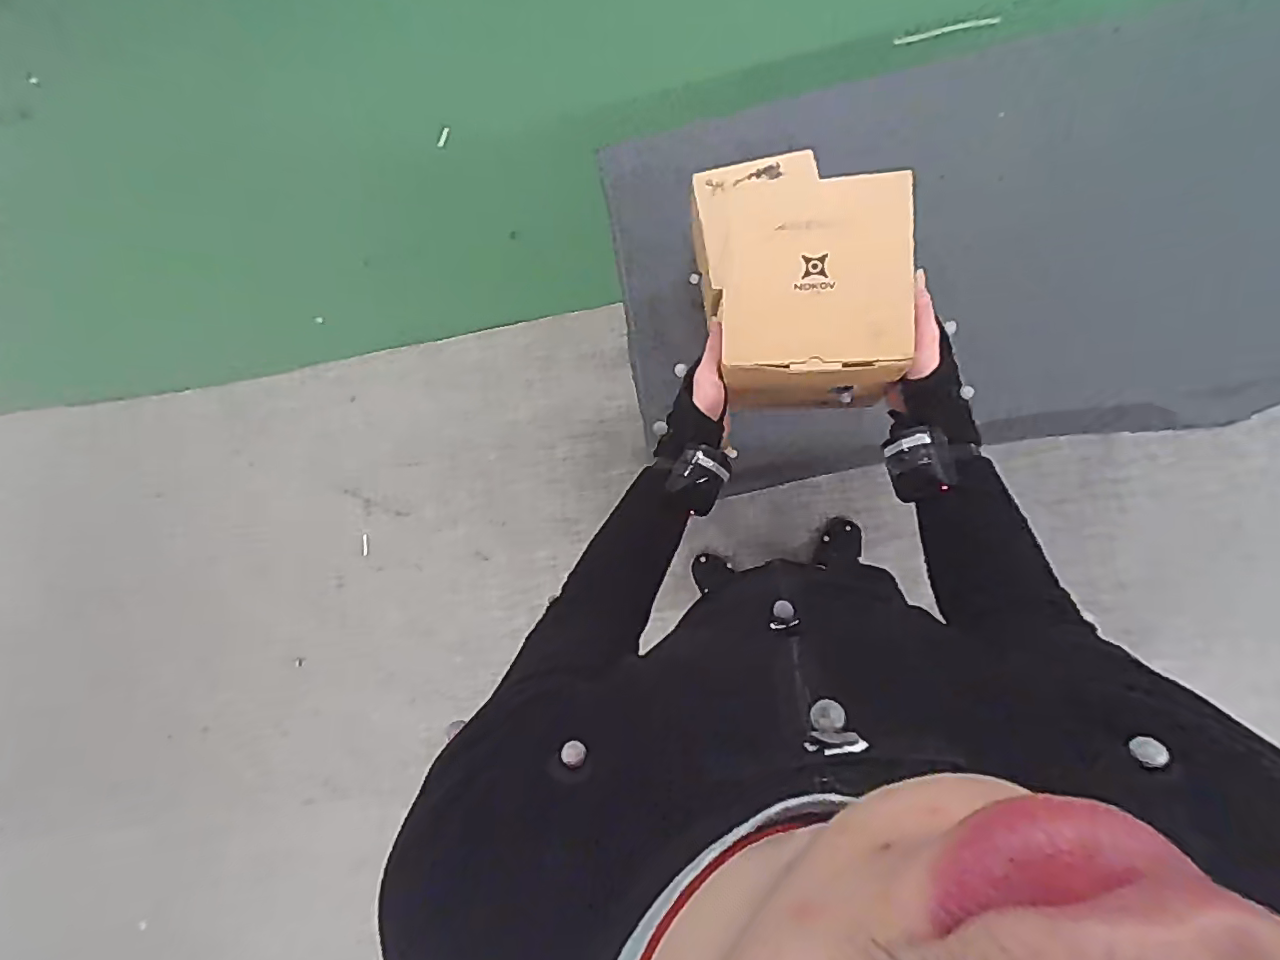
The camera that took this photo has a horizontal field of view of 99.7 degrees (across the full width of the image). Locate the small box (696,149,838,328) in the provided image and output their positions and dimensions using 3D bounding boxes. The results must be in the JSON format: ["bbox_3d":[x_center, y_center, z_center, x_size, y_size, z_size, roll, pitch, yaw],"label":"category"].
[{"bbox_3d":[0.177,-0.340,0.800,0.168,0.176,0.179,-9,83,5],"label":"small box"}]
